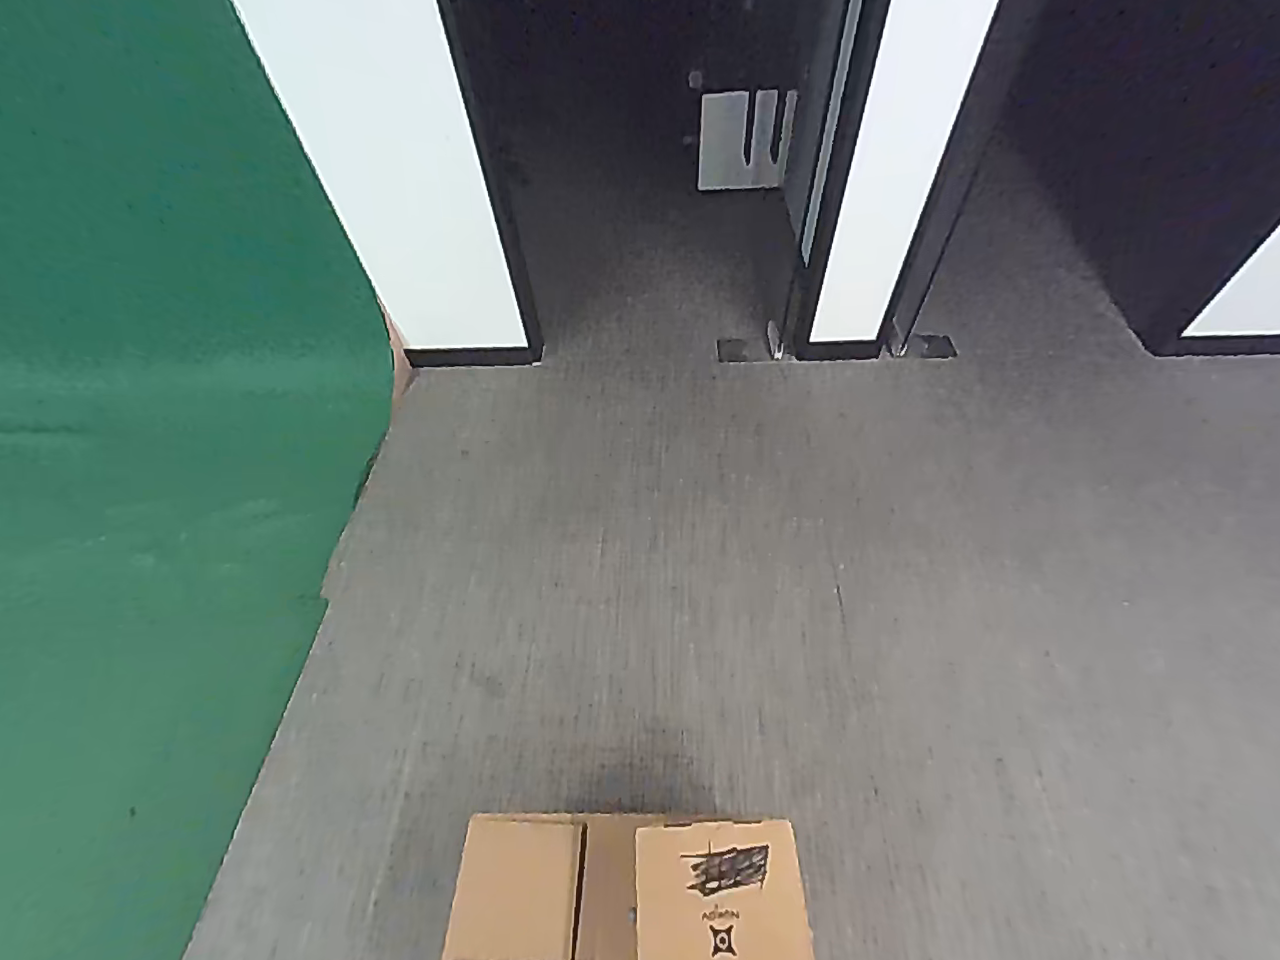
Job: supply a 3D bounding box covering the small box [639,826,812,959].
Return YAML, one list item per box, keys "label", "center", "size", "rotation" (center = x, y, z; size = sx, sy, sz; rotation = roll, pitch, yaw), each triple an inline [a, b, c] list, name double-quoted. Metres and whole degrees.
- label: "small box"
  center: [0.086, 0.488, 0.584]
  size: [0.168, 0.176, 0.179]
  rotation: [-4, 53, 4]
